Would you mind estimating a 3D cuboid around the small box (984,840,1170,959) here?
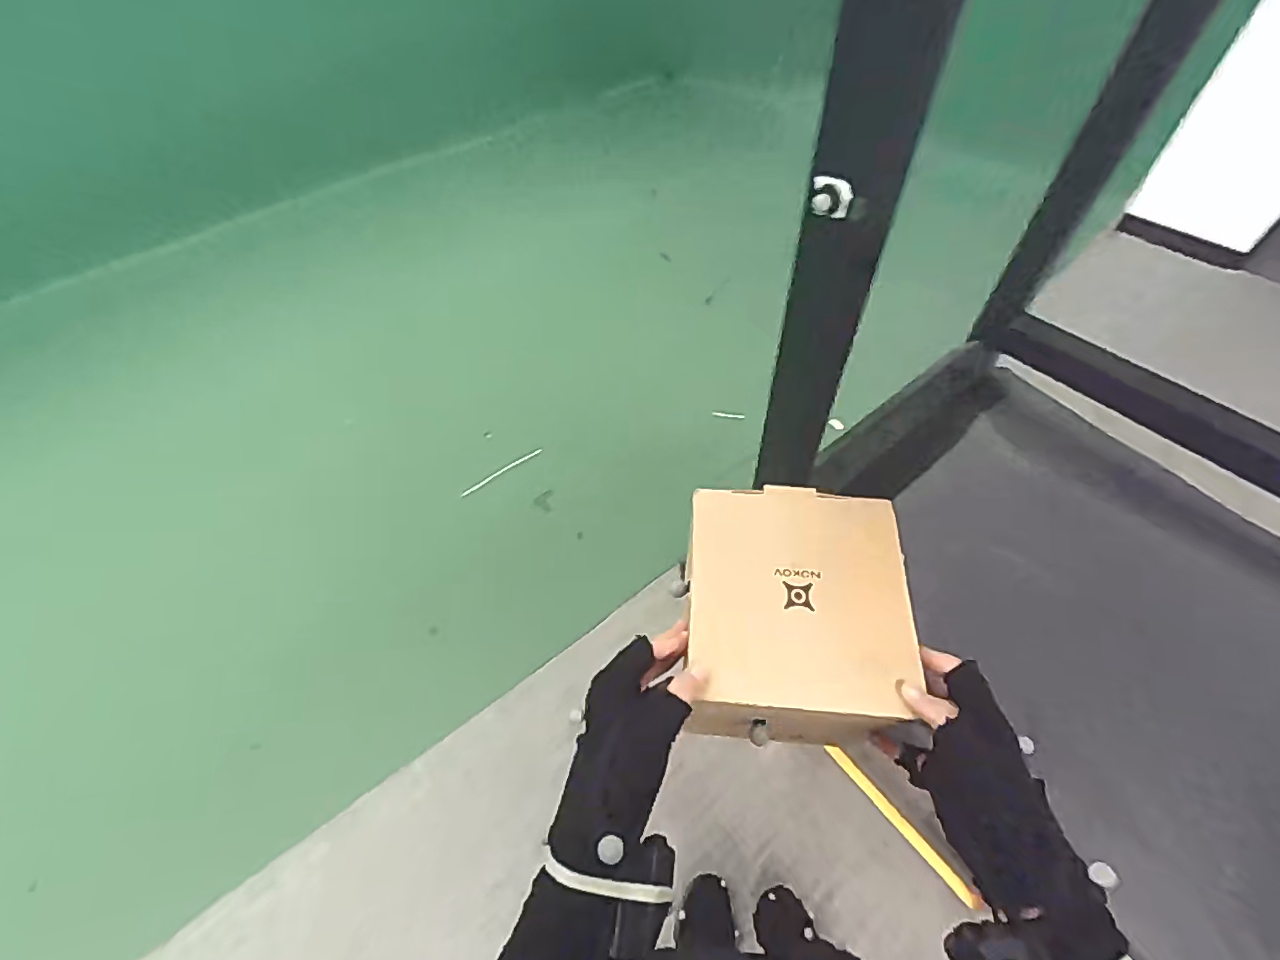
[{"bbox_3d":[0.745,0.774,0.947,0.179,0.176,0.168,-35,58,-18],"label":"small box"}]
